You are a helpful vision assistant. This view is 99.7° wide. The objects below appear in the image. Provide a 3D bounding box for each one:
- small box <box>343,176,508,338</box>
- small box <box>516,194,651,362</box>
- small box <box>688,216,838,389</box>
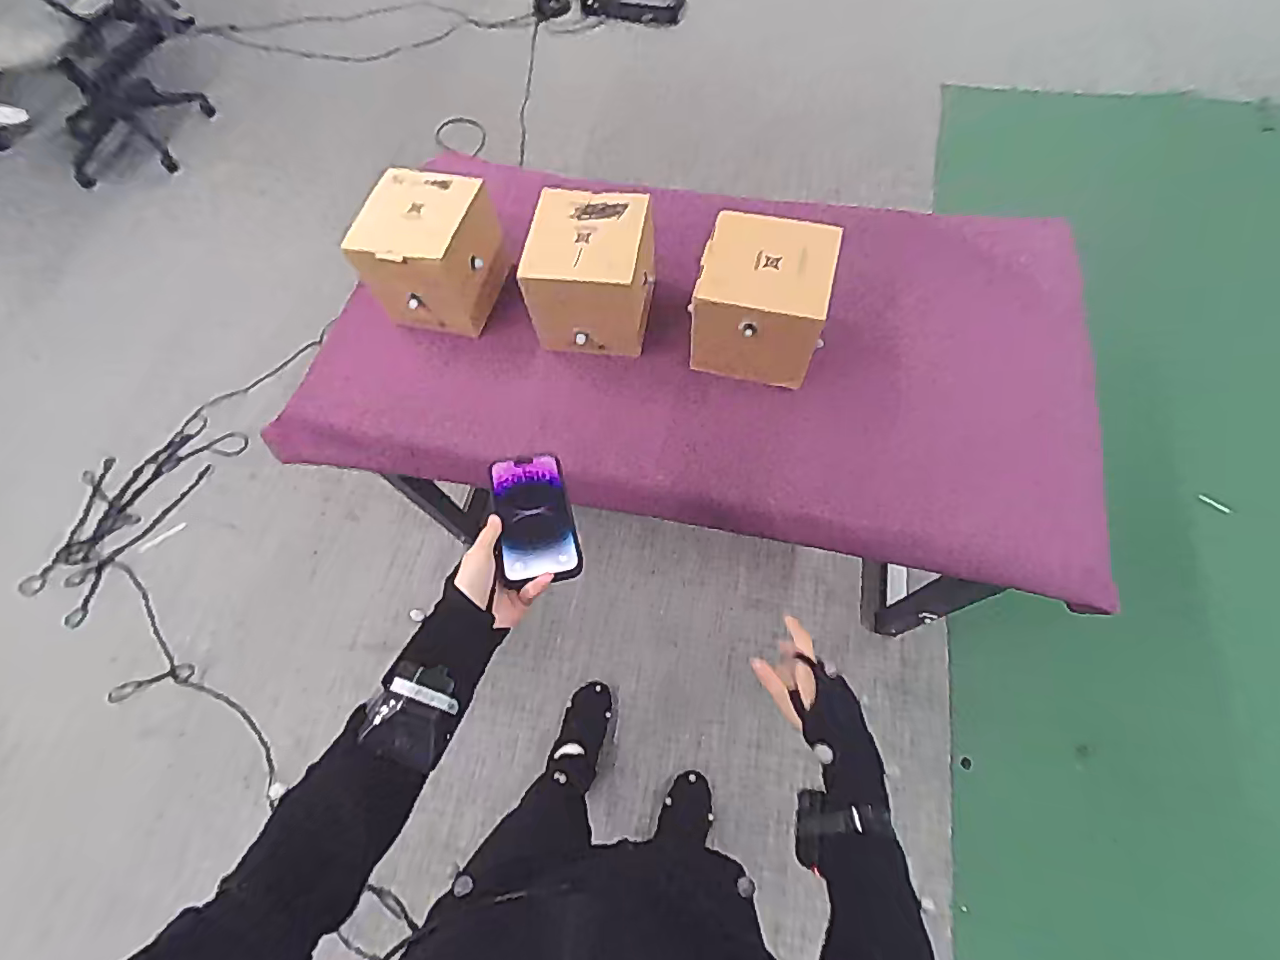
[{"bbox_3d":[-0.336,-0.360,0.889,0.168,0.176,0.179,11,67,9],"label":"small box"},{"bbox_3d":[-0.076,-0.312,0.848,0.168,0.176,0.179,6,67,7],"label":"small box"},{"bbox_3d":[0.174,-0.257,0.805,0.179,0.176,0.168,14,68,10],"label":"small box"}]
